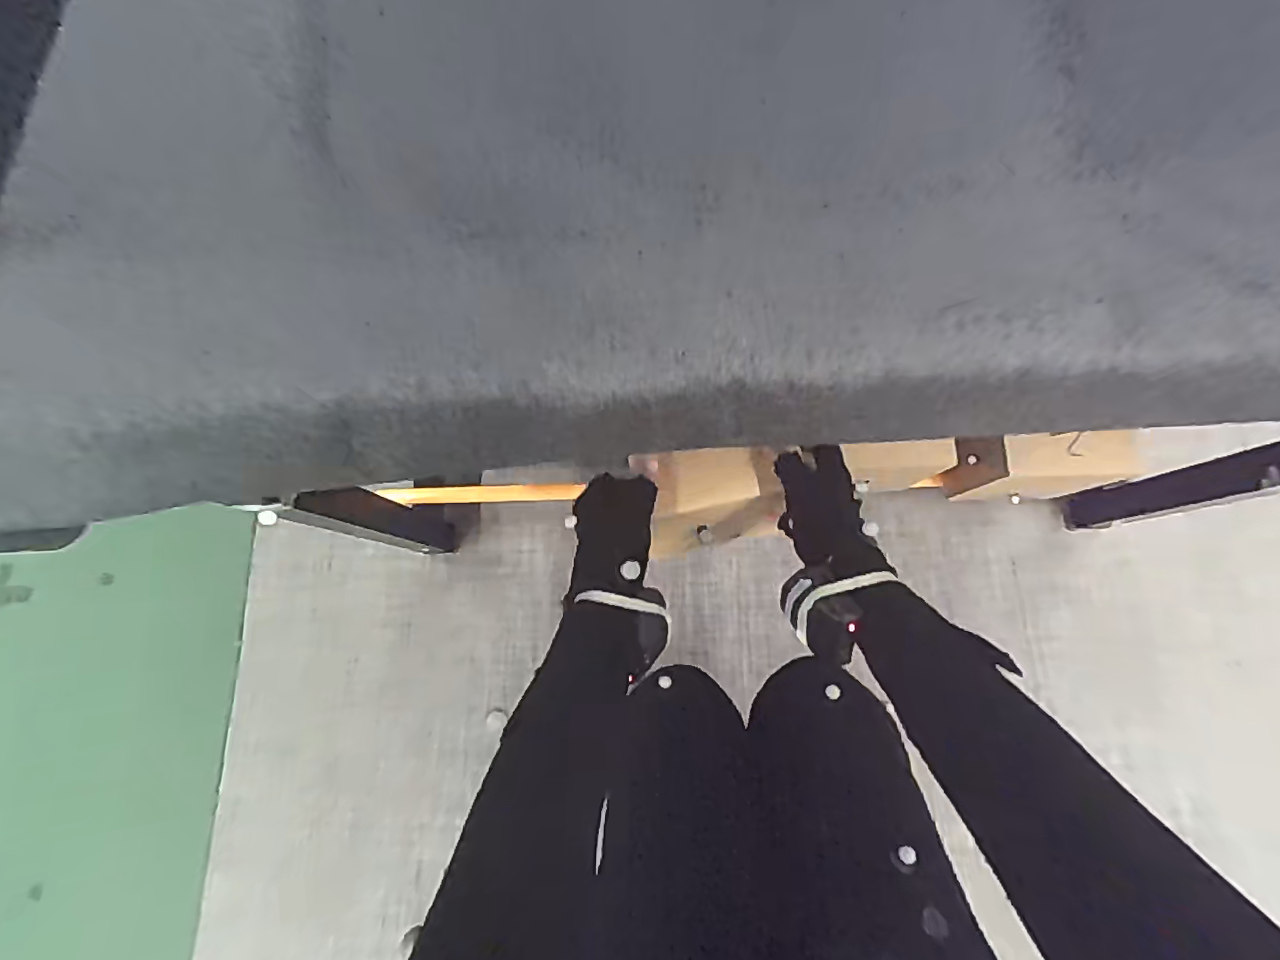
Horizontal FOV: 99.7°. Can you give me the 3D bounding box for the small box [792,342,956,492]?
[{"bbox_3d":[0.326,-0.080,0.791,0.168,0.176,0.179,-3,77,3],"label":"small box"}]
